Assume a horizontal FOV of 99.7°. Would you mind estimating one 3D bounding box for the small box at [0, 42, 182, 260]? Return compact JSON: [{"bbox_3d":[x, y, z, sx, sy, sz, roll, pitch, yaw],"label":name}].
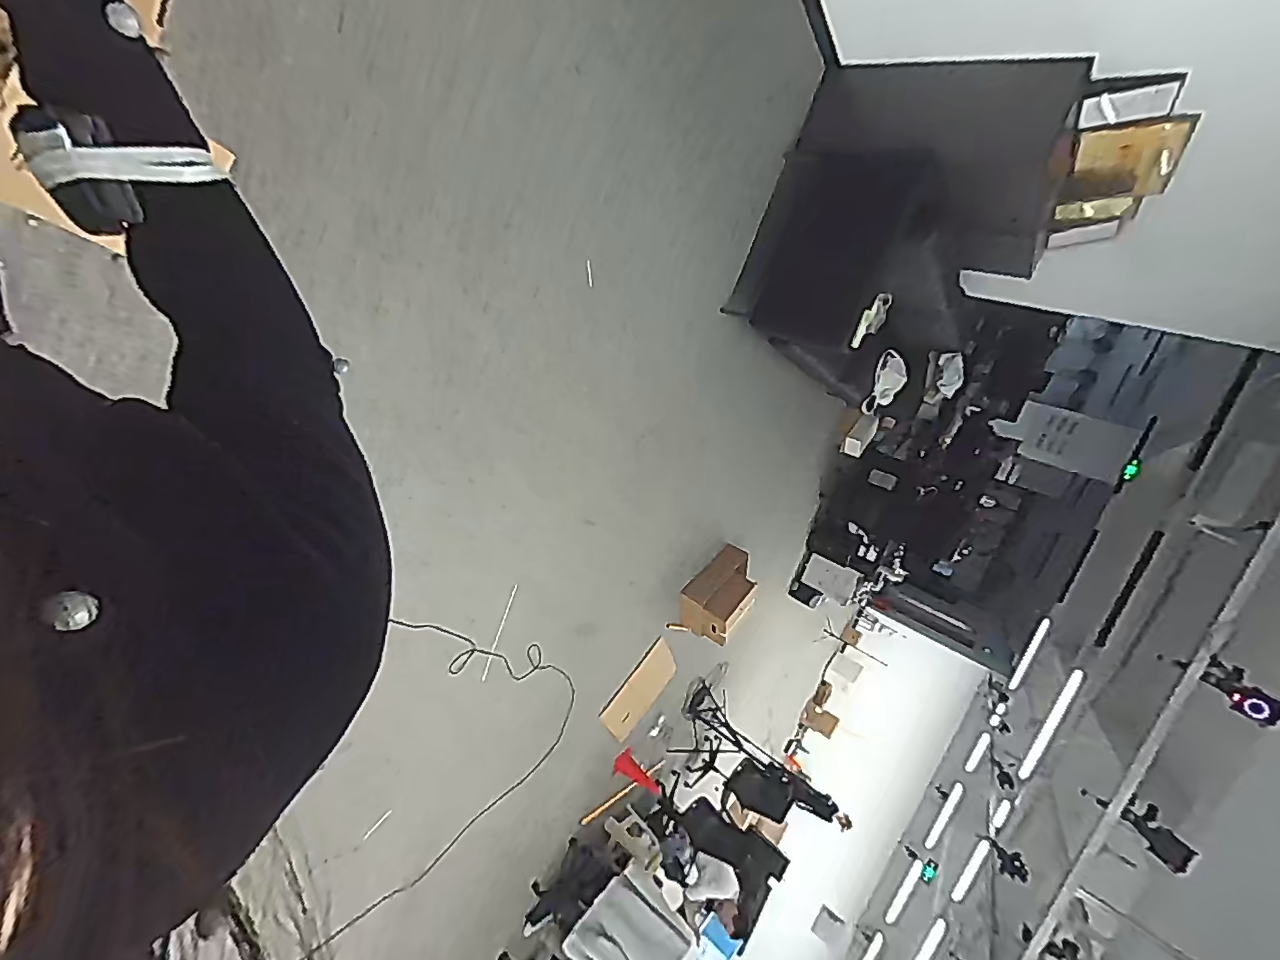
[{"bbox_3d":[-0.749,-0.417,0.704,0.168,0.176,0.179,15,98,-58],"label":"small box"}]
